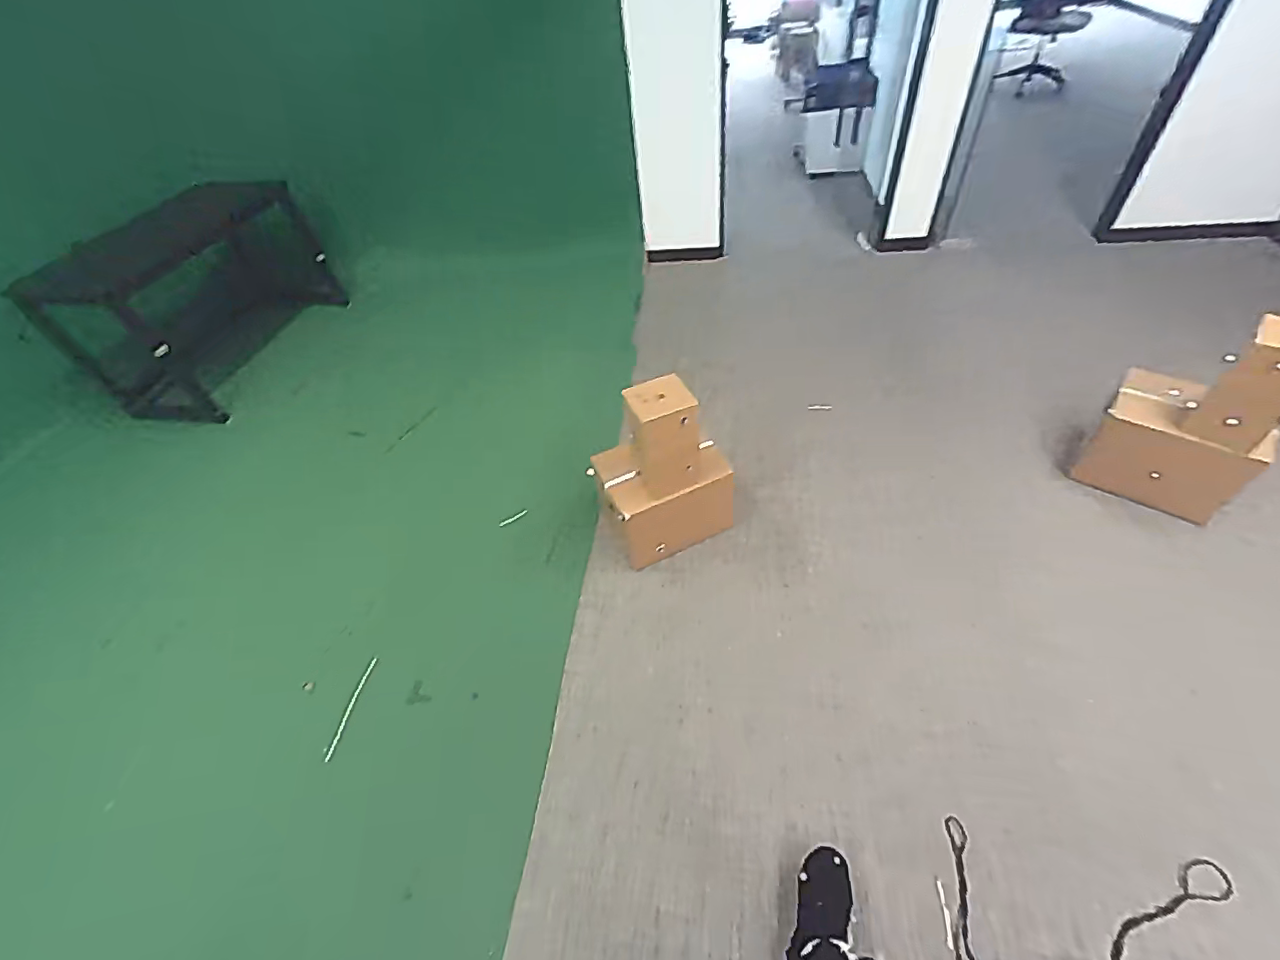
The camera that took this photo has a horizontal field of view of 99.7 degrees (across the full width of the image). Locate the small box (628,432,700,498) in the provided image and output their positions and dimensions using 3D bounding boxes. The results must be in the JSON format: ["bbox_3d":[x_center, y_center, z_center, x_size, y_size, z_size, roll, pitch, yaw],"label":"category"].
[{"bbox_3d":[0.079,-0.073,1.716,0.179,0.176,0.168,-22,49,-12],"label":"small box"}]

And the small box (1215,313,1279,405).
[{"bbox_3d":[1.775,-0.330,1.497,0.179,0.176,0.168,31,60,32],"label":"small box"}]

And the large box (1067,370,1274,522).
[{"bbox_3d":[1.802,-0.122,1.859,0.408,0.320,0.320,27,56,29],"label":"large box"}]

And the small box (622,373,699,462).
[{"bbox_3d":[0.062,-0.182,1.594,0.179,0.176,0.168,-21,48,-10],"label":"small box"}]
